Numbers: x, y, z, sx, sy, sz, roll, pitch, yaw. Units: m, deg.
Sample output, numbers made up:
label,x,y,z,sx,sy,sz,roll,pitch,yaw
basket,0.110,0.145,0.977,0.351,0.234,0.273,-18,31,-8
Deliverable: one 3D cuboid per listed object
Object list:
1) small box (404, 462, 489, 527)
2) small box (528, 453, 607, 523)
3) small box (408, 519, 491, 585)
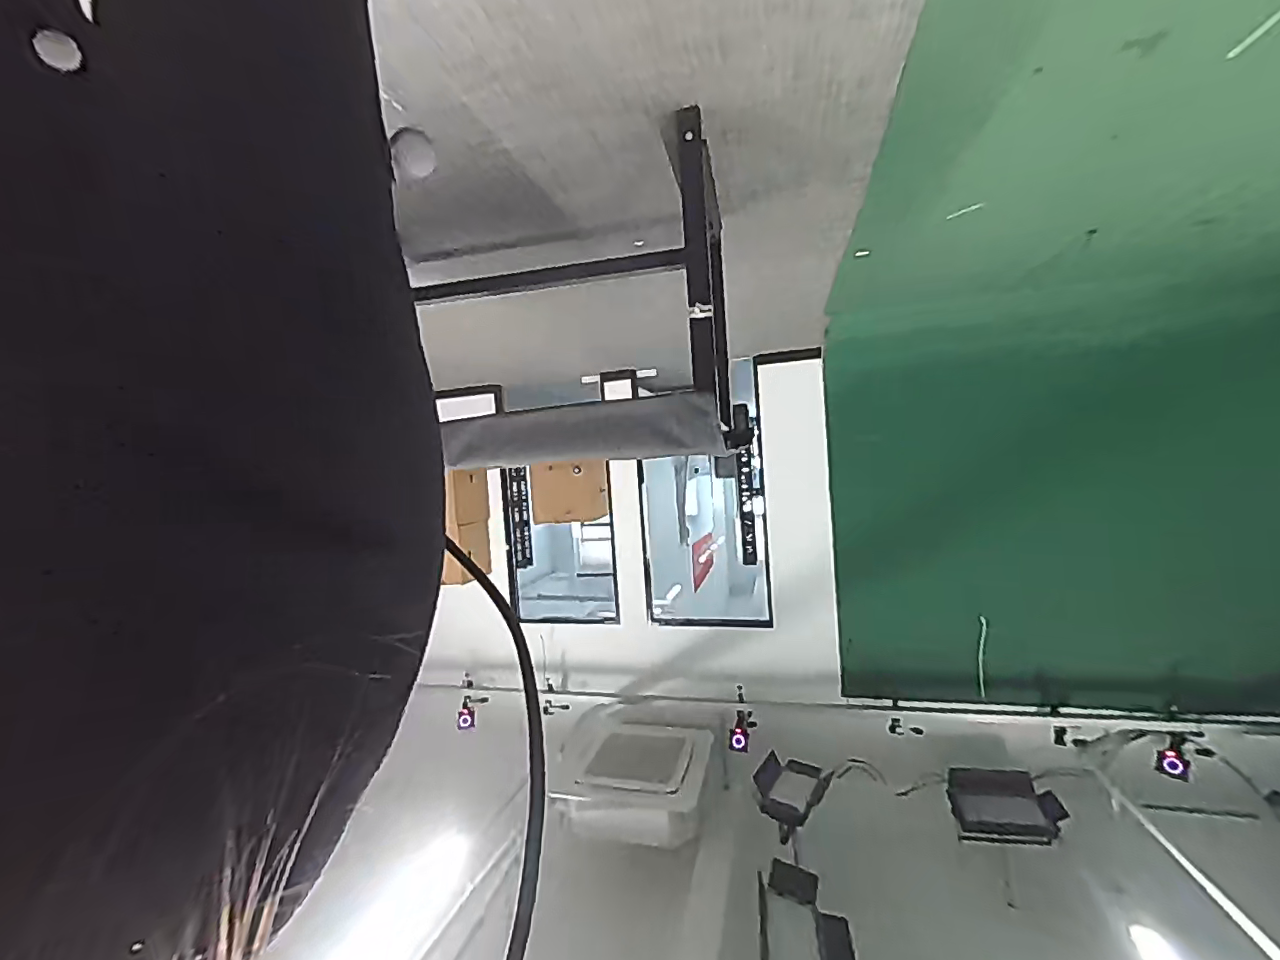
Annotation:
label,x,y,z,sx,sy,sz,roll,pitch,yaw
small box,-0.564,0.040,1.576,0.168,0.176,0.179,-3,-178,16
small box,-0.195,0.019,1.470,0.168,0.176,0.179,-3,-177,10
small box,-0.557,0.202,1.583,0.168,0.176,0.179,-3,-177,13
